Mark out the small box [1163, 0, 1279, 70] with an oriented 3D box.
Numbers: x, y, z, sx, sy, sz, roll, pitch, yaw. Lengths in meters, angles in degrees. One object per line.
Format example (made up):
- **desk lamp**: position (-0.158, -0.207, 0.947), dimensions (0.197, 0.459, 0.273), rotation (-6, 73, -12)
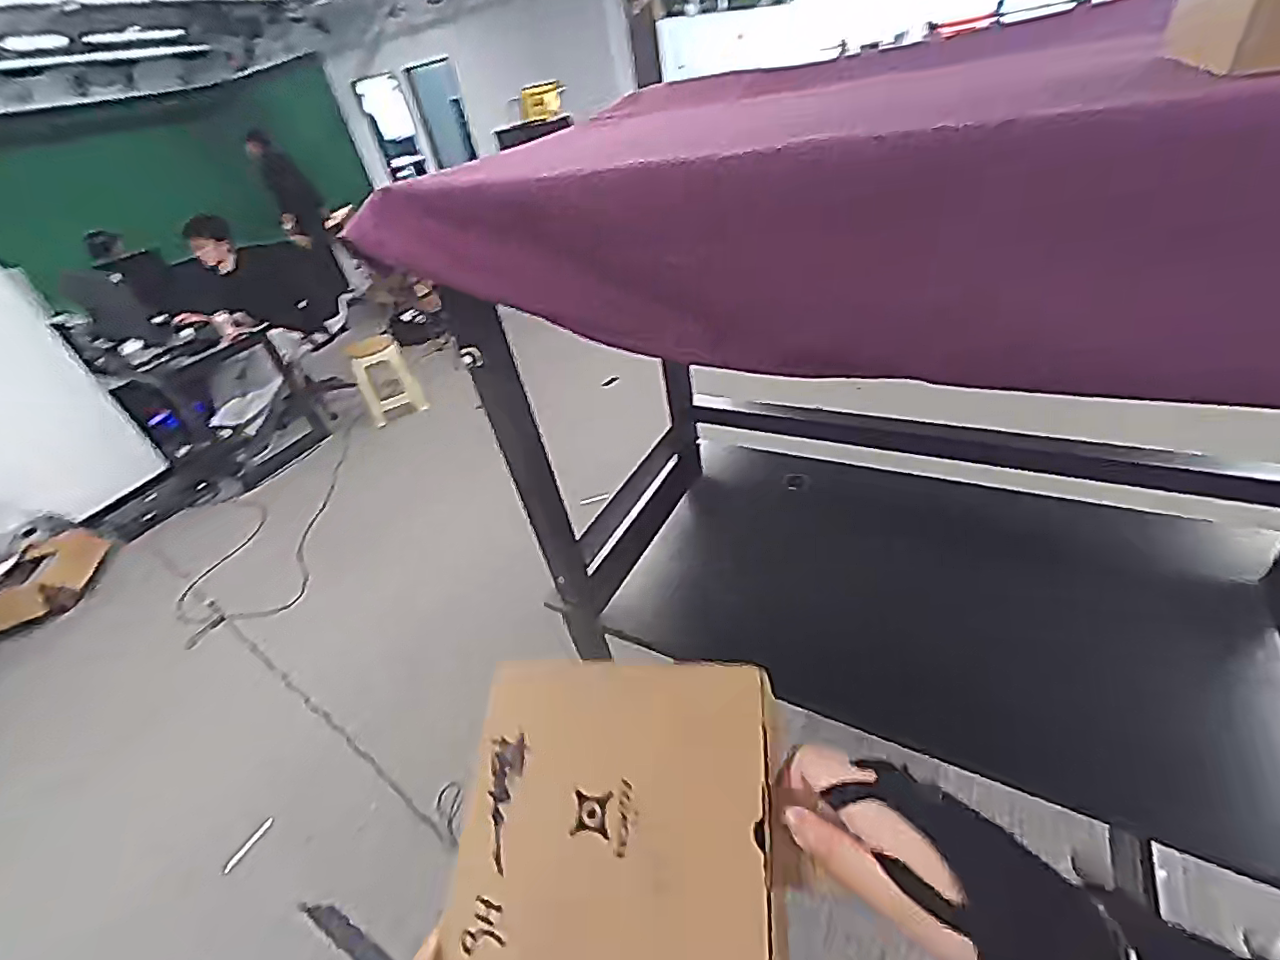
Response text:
- **small box**: position (0.443, -0.346, 0.298), dimensions (0.168, 0.176, 0.179), rotation (8, 41, 25)
